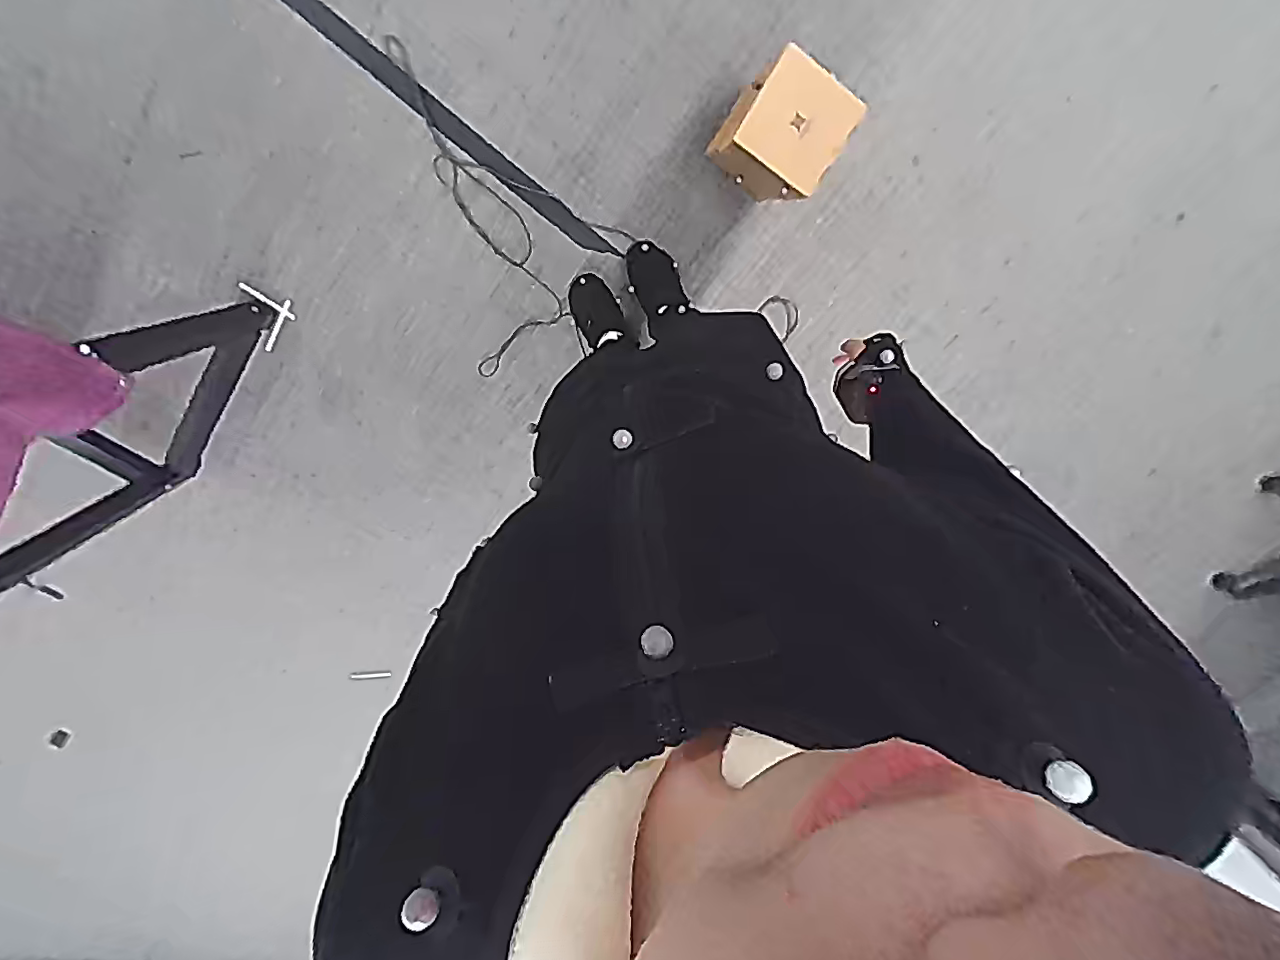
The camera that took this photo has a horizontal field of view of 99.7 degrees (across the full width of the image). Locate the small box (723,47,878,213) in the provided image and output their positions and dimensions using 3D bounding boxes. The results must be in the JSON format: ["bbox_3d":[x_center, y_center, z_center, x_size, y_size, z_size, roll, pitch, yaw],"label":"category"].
[{"bbox_3d":[0.286,-0.617,0.974,0.168,0.176,0.179,20,97,-31],"label":"small box"}]
